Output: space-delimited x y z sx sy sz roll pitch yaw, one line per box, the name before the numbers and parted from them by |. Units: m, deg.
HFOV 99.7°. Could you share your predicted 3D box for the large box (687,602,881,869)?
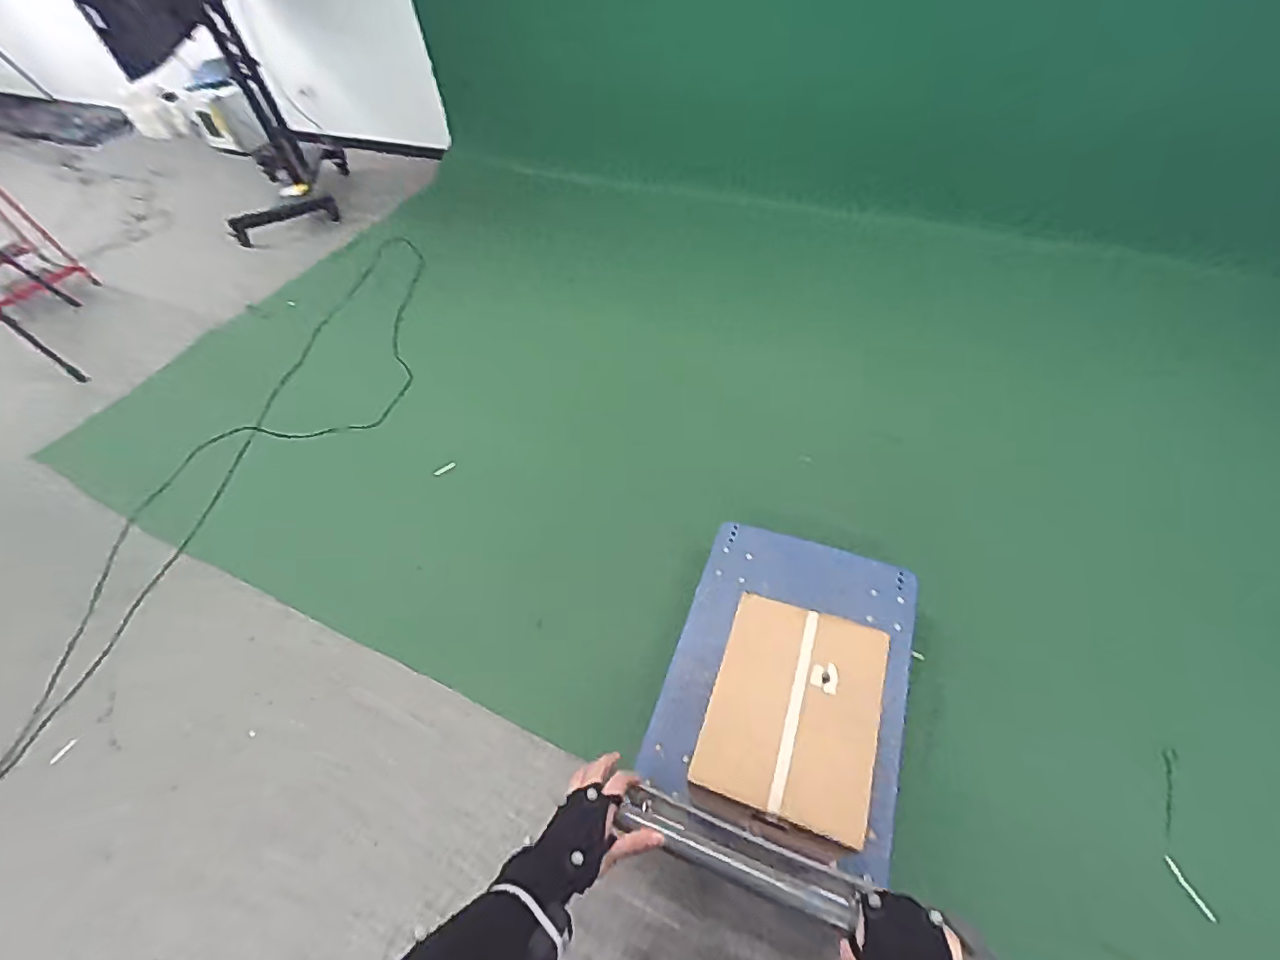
large box | 0.309 0.549 1.178 0.320 0.320 0.408 14 54 17
